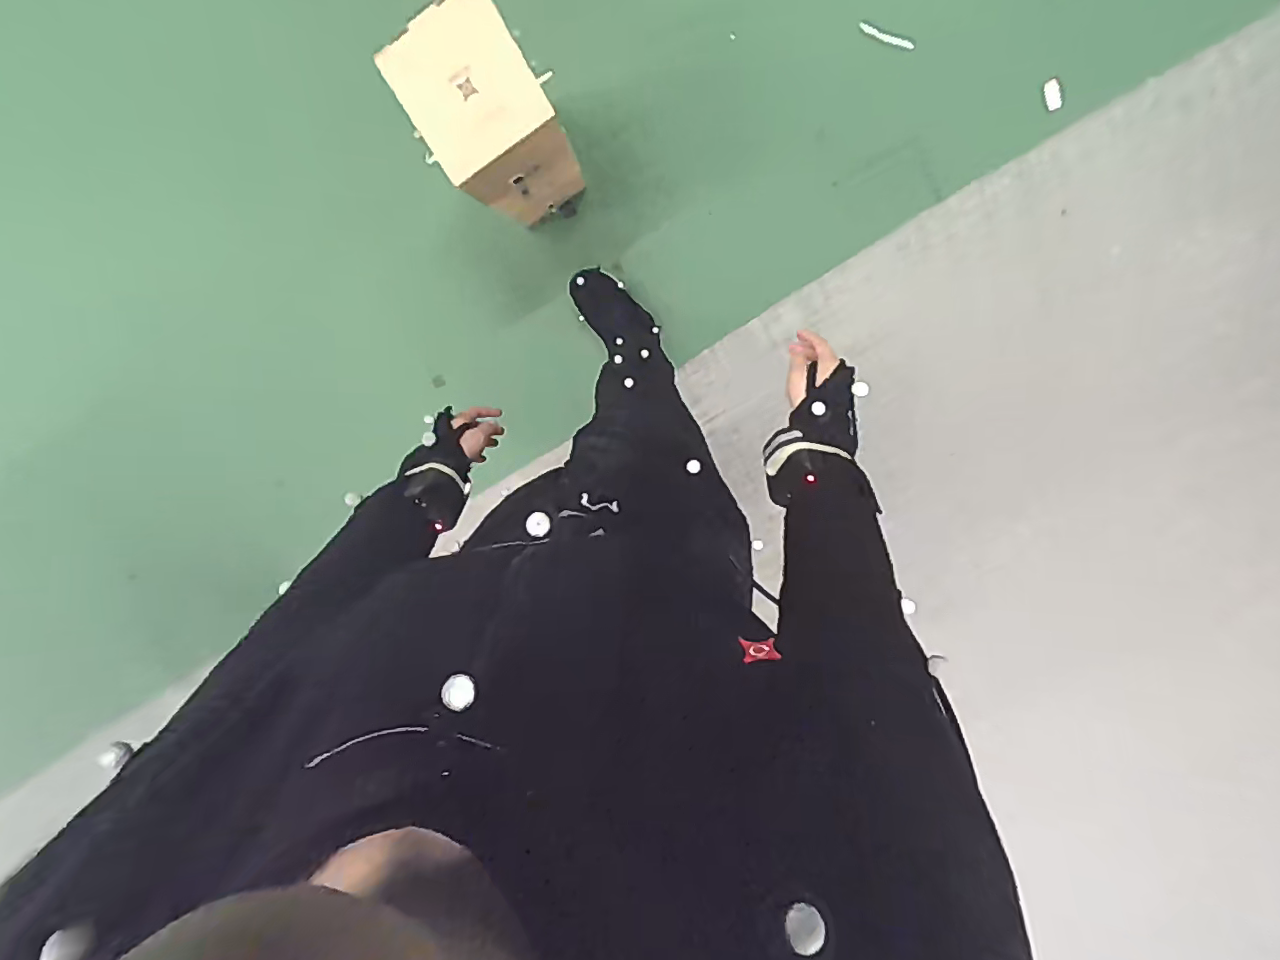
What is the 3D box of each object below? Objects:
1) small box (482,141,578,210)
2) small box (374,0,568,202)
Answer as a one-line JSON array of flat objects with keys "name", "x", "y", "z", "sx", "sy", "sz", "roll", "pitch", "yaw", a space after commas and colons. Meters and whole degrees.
[{"name": "small box", "x": -0.220, "y": -0.581, "z": 0.910, "sx": 0.168, "sy": 0.176, "sz": 0.179, "roll": -29, "pitch": 105, "yaw": 9}, {"name": "small box", "x": -0.221, "y": -0.525, "z": 0.757, "sx": 0.168, "sy": 0.176, "sz": 0.179, "roll": -31, "pitch": 106, "yaw": 10}]
